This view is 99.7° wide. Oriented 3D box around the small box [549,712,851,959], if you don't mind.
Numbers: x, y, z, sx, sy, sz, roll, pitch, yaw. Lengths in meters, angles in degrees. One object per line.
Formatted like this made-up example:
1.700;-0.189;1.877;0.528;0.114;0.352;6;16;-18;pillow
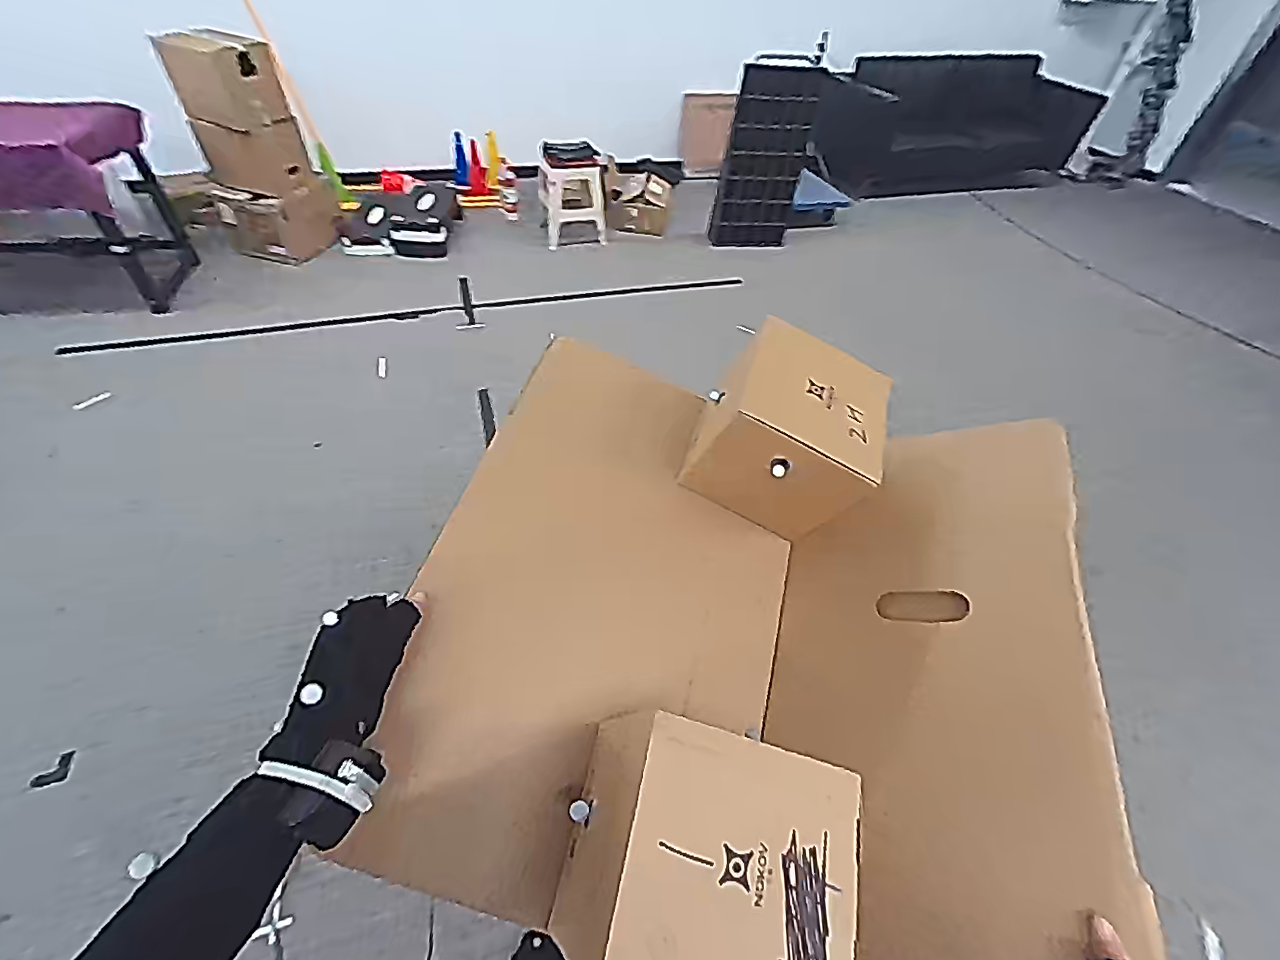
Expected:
0.043;0.301;0.436;0.179;0.176;0.168;20;57;-9;small box
